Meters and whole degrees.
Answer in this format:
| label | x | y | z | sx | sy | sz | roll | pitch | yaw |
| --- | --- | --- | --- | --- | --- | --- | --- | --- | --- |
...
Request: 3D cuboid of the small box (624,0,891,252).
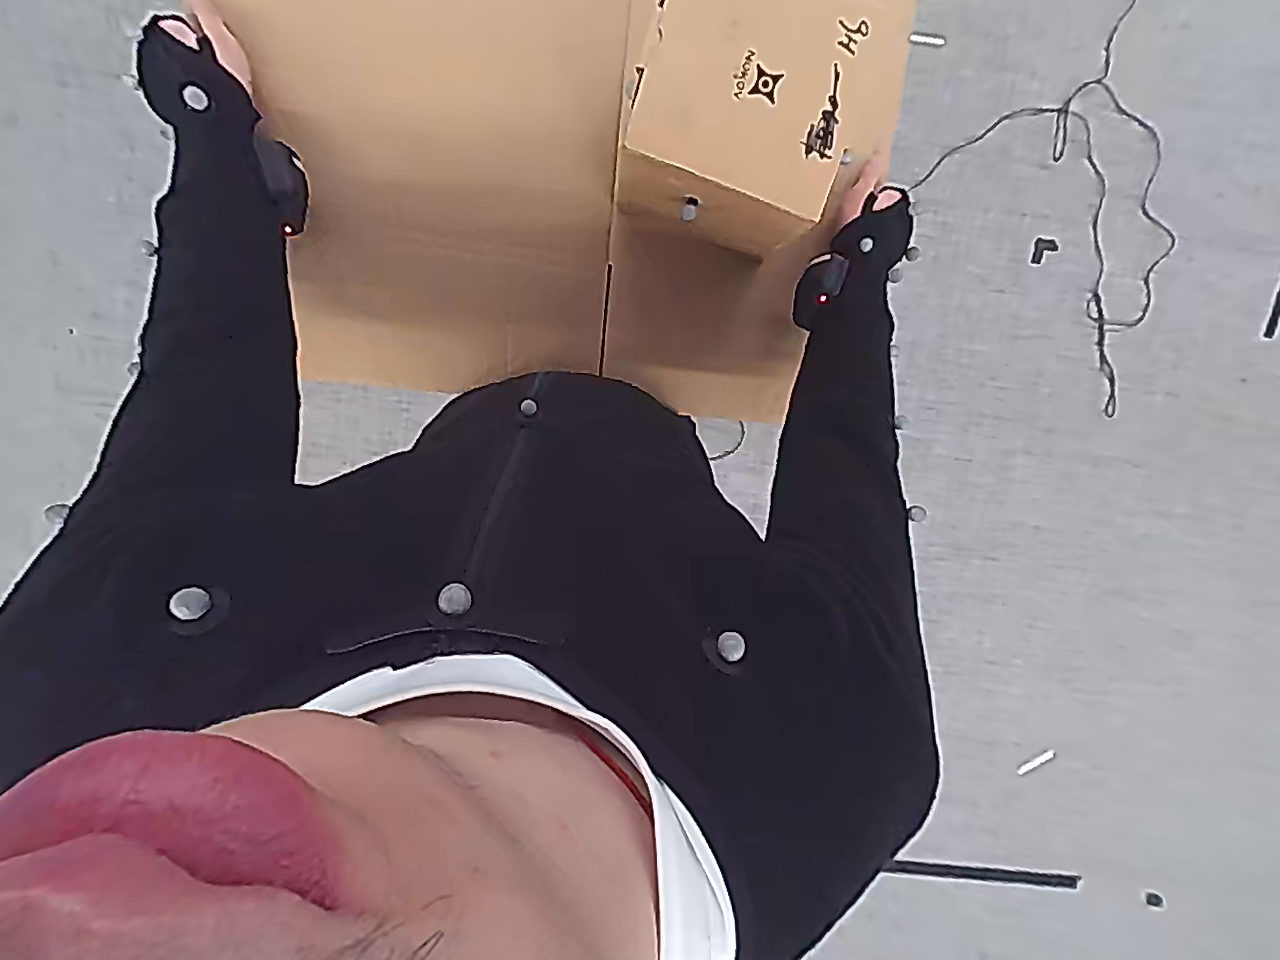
| label | x | y | z | sx | sy | sz | roll | pitch | yaw |
| --- | --- | --- | --- | --- | --- | --- | --- | --- | --- |
| small box | 0.090 | -0.337 | 0.512 | 0.179 | 0.176 | 0.168 | 17 | 100 | -6 |
